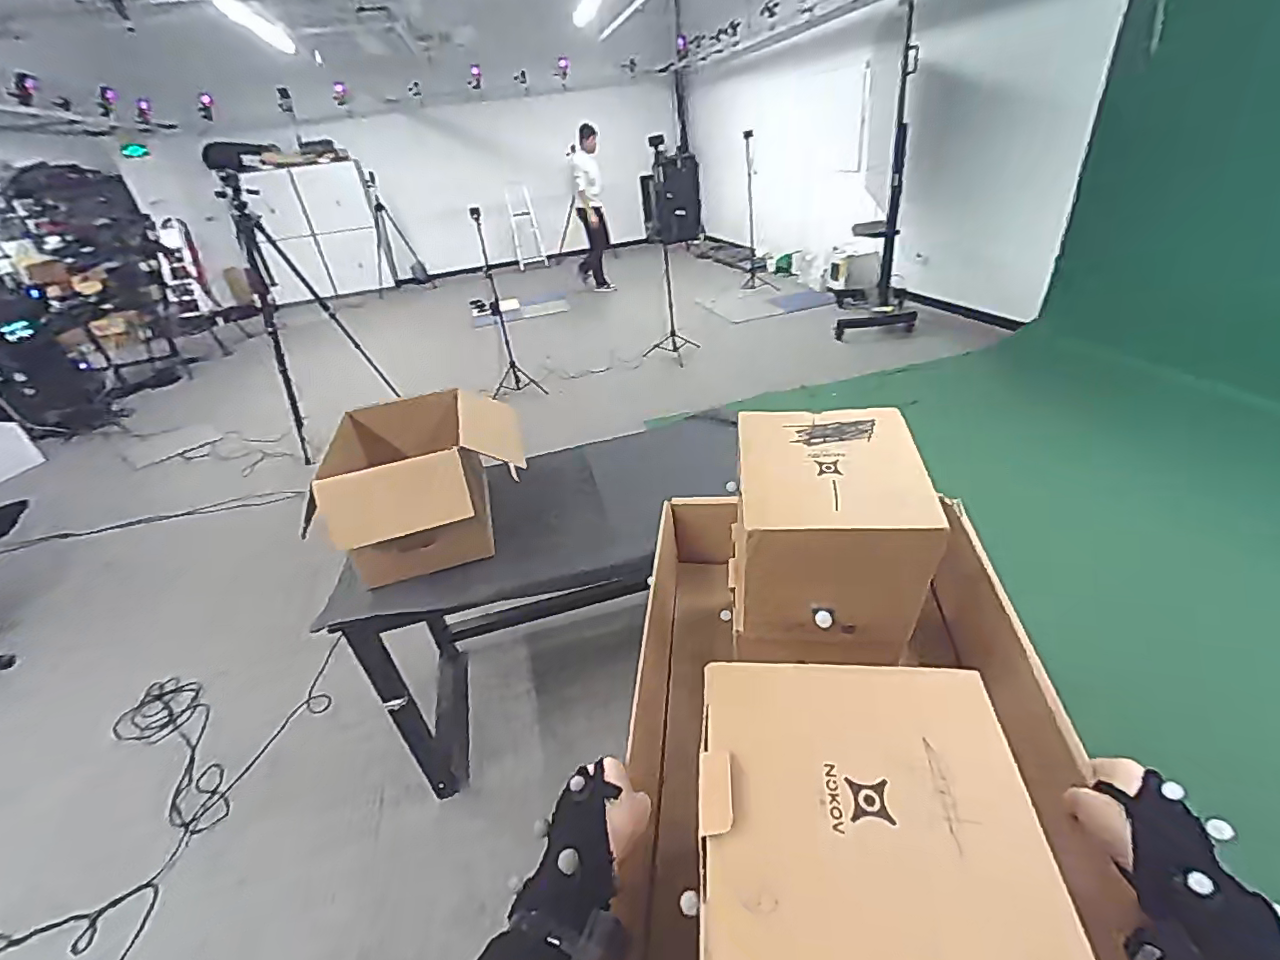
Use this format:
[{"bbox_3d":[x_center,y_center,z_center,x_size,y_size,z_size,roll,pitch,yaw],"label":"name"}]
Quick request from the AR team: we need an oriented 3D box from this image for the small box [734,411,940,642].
[{"bbox_3d":[0.184,0.046,0.568,0.168,0.176,0.179,-1,43,9],"label":"small box"}]

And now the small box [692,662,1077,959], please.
[{"bbox_3d":[0.128,0.239,0.357,0.179,0.176,0.168,-2,41,8],"label":"small box"}]
